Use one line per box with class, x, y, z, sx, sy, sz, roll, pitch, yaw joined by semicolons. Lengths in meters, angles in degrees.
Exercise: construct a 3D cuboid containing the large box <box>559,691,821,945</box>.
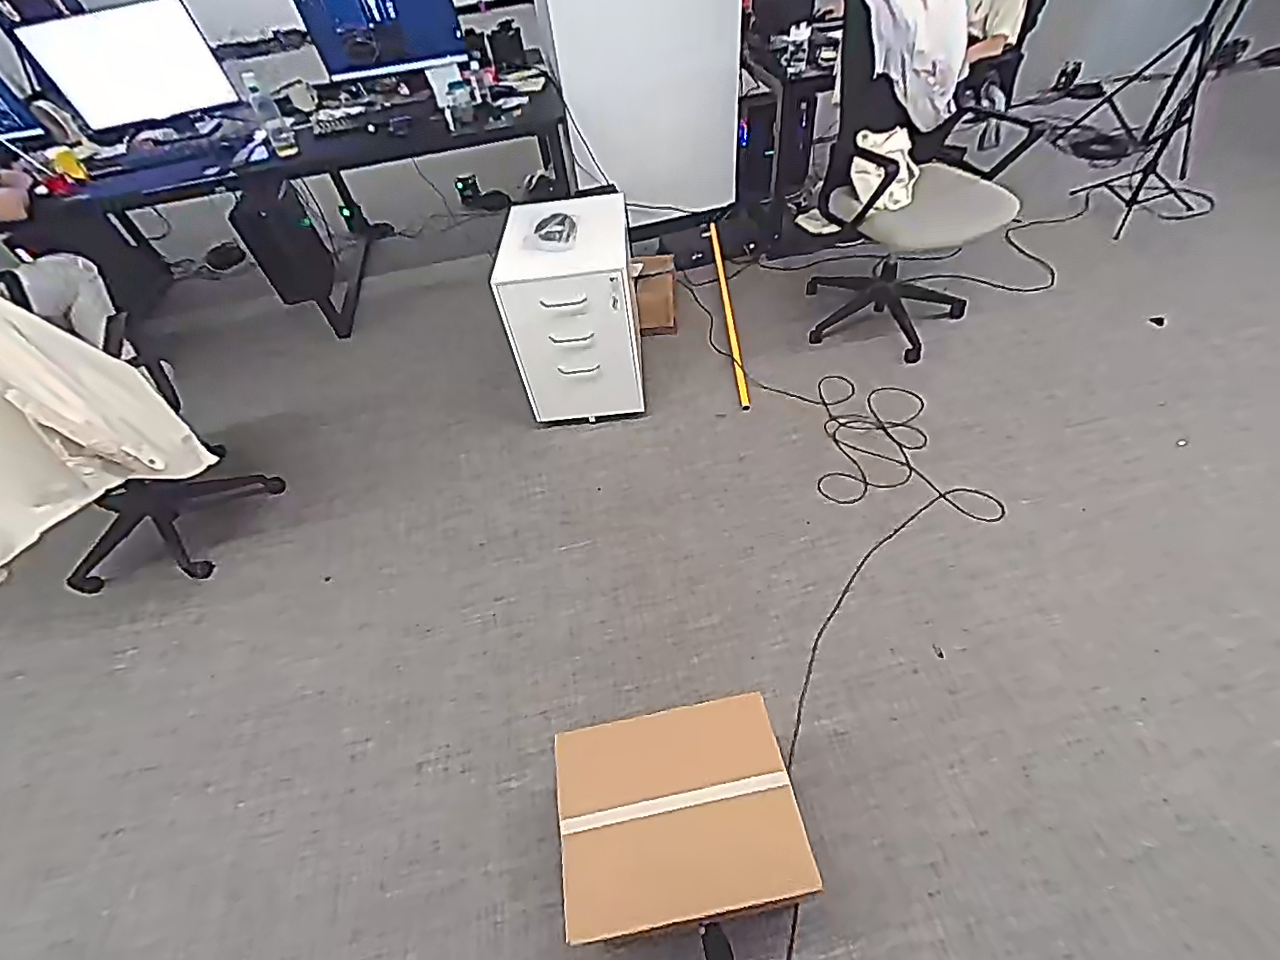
large box;0.080;0.656;1.046;0.408;0.320;0.320;-11;50;-2
